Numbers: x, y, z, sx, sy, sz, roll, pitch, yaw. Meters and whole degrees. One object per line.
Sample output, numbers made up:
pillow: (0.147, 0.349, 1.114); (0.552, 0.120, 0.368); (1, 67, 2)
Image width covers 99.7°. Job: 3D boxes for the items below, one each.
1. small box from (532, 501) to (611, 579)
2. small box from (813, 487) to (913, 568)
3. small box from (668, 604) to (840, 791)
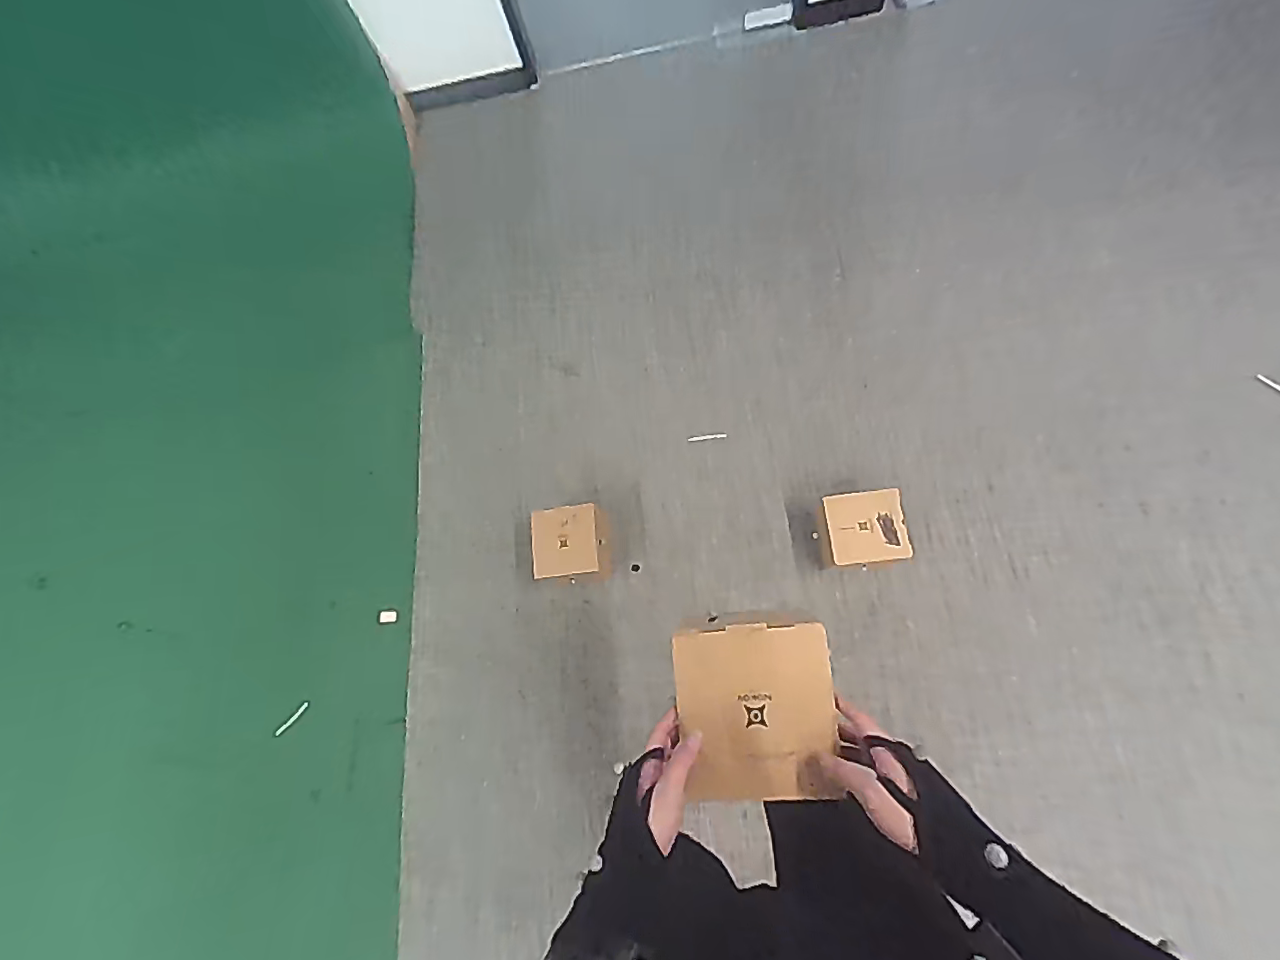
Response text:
small box: (-0.176, 0.164, 1.422); (0.168, 0.176, 0.179); (-7, 74, 6)
small box: (0.535, 0.121, 1.317); (0.179, 0.176, 0.168); (-7, 74, 8)
small box: (0.126, 0.242, 0.641); (0.168, 0.176, 0.179); (-6, 82, 9)
